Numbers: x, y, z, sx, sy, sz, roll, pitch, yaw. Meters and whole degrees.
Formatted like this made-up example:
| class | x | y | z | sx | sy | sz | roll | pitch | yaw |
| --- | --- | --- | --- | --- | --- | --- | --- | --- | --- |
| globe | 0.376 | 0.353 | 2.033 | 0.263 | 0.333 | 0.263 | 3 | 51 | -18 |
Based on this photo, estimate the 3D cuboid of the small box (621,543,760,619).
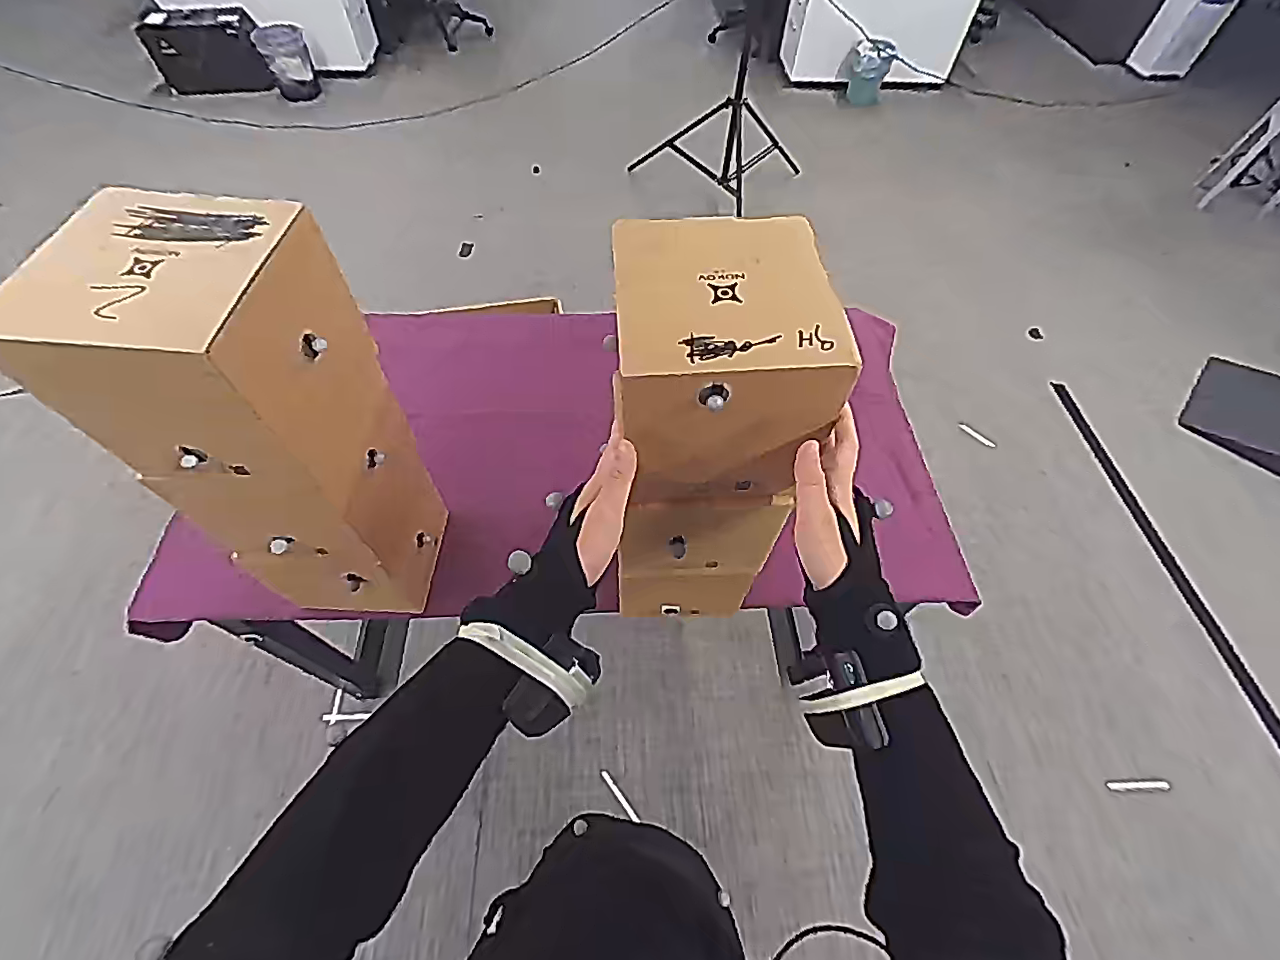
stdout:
| class | x | y | z | sx | sy | sz | roll | pitch | yaw |
| --- | --- | --- | --- | --- | --- | --- | --- | --- | --- |
| small box | 0.057 | 0.079 | 0.742 | 0.168 | 0.176 | 0.179 | -2 | 59 | -1 |

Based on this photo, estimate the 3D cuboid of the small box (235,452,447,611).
| class | x | y | z | sx | sy | sz | roll | pitch | yaw |
| --- | --- | --- | --- | --- | --- | --- | --- | --- | --- |
| small box | -0.380 | 0.070 | 0.731 | 0.179 | 0.176 | 0.168 | 3 | 56 | 0 |

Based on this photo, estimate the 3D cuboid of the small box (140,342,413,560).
| class | x | y | z | sx | sy | sz | roll | pitch | yaw |
| --- | --- | --- | --- | --- | --- | --- | --- | --- | --- |
| small box | -0.371 | -0.027 | 0.599 | 0.168 | 0.176 | 0.179 | 2 | 58 | -1 |

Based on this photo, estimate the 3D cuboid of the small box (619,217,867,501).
| class | x | y | z | sx | sy | sz | roll | pitch | yaw |
| --- | --- | --- | --- | --- | --- | --- | --- | --- | --- |
| small box | 0.066 | -0.101 | 0.469 | 0.168 | 0.176 | 0.179 | -3 | 57 | -1 |

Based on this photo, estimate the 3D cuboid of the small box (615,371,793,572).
| class | x | y | z | sx | sy | sz | roll | pitch | yaw |
| --- | --- | --- | --- | --- | --- | --- | --- | --- | --- |
| small box | 0.059 | -0.004 | 0.603 | 0.168 | 0.176 | 0.179 | -2 | 57 | -1 |
